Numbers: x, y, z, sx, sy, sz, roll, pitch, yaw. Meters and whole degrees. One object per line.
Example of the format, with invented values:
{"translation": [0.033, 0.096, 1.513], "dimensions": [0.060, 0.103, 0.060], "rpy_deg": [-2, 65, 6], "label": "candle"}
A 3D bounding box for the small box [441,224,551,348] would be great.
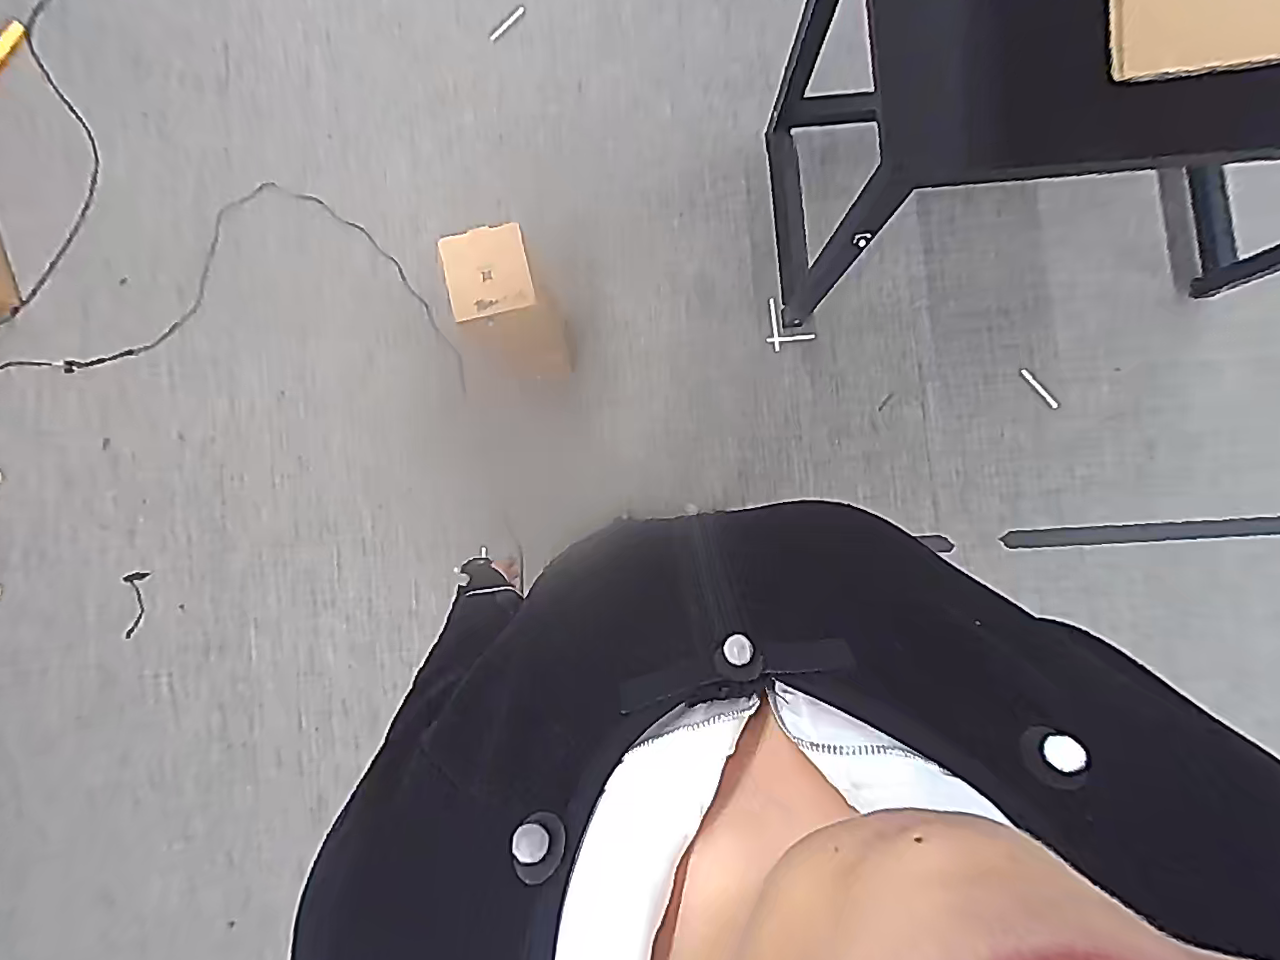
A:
{"translation": [-0.296, -0.401, 1.140], "dimensions": [0.168, 0.176, 0.179], "rpy_deg": [-13, 86, 1], "label": "small box"}
